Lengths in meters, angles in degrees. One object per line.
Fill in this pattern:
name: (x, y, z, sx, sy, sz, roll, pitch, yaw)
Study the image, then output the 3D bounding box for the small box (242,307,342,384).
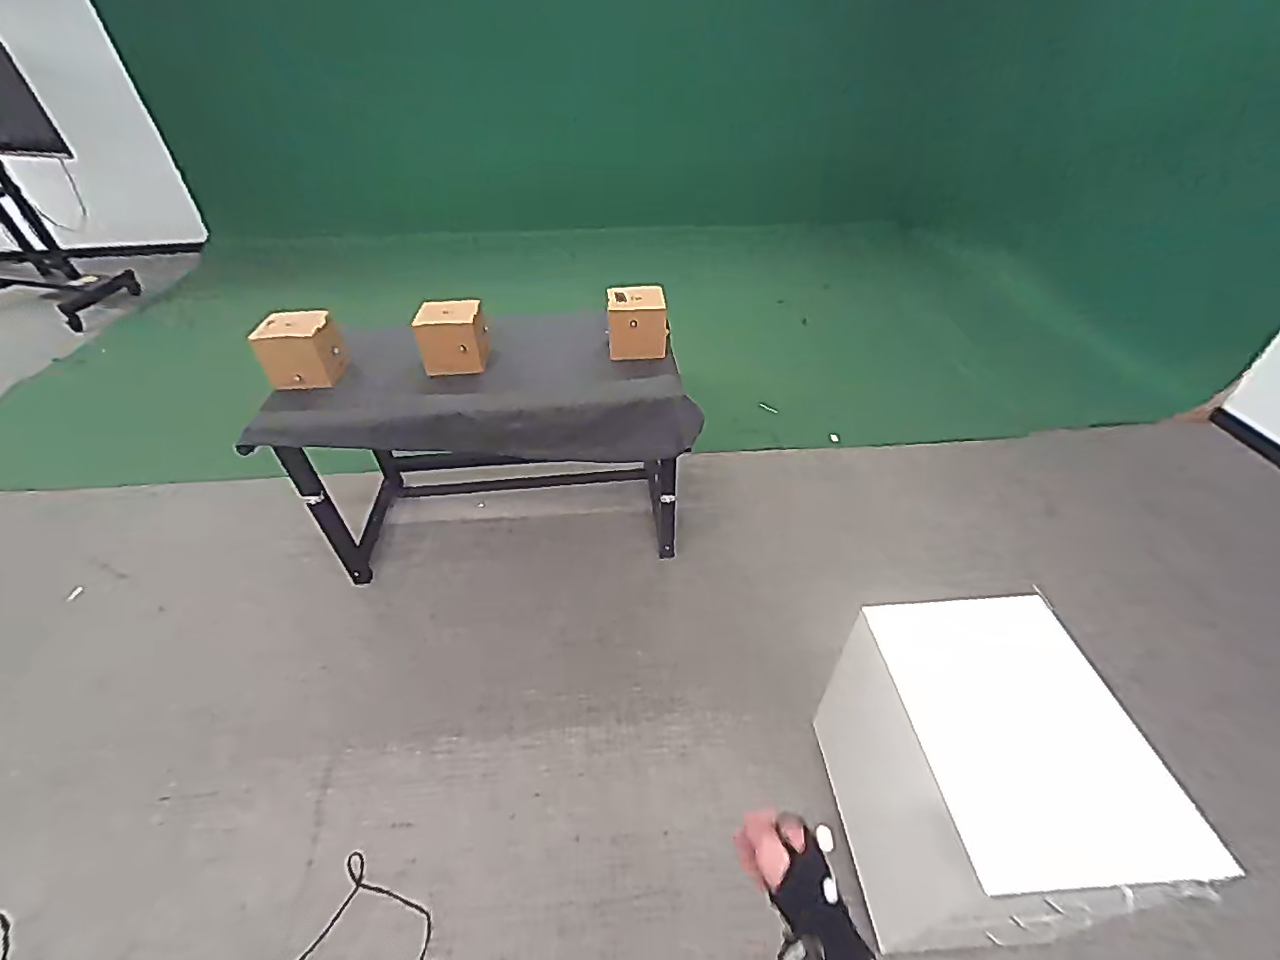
small box: (-1.015, -0.396, 1.597, 0.179, 0.176, 0.168, -2, 41, -5)

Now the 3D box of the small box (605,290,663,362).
small box: (-0.021, -0.486, 1.711, 0.179, 0.176, 0.168, -2, 41, -3)

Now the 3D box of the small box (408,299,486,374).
small box: (-0.582, -0.438, 1.656, 0.179, 0.176, 0.168, -4, 40, -3)
